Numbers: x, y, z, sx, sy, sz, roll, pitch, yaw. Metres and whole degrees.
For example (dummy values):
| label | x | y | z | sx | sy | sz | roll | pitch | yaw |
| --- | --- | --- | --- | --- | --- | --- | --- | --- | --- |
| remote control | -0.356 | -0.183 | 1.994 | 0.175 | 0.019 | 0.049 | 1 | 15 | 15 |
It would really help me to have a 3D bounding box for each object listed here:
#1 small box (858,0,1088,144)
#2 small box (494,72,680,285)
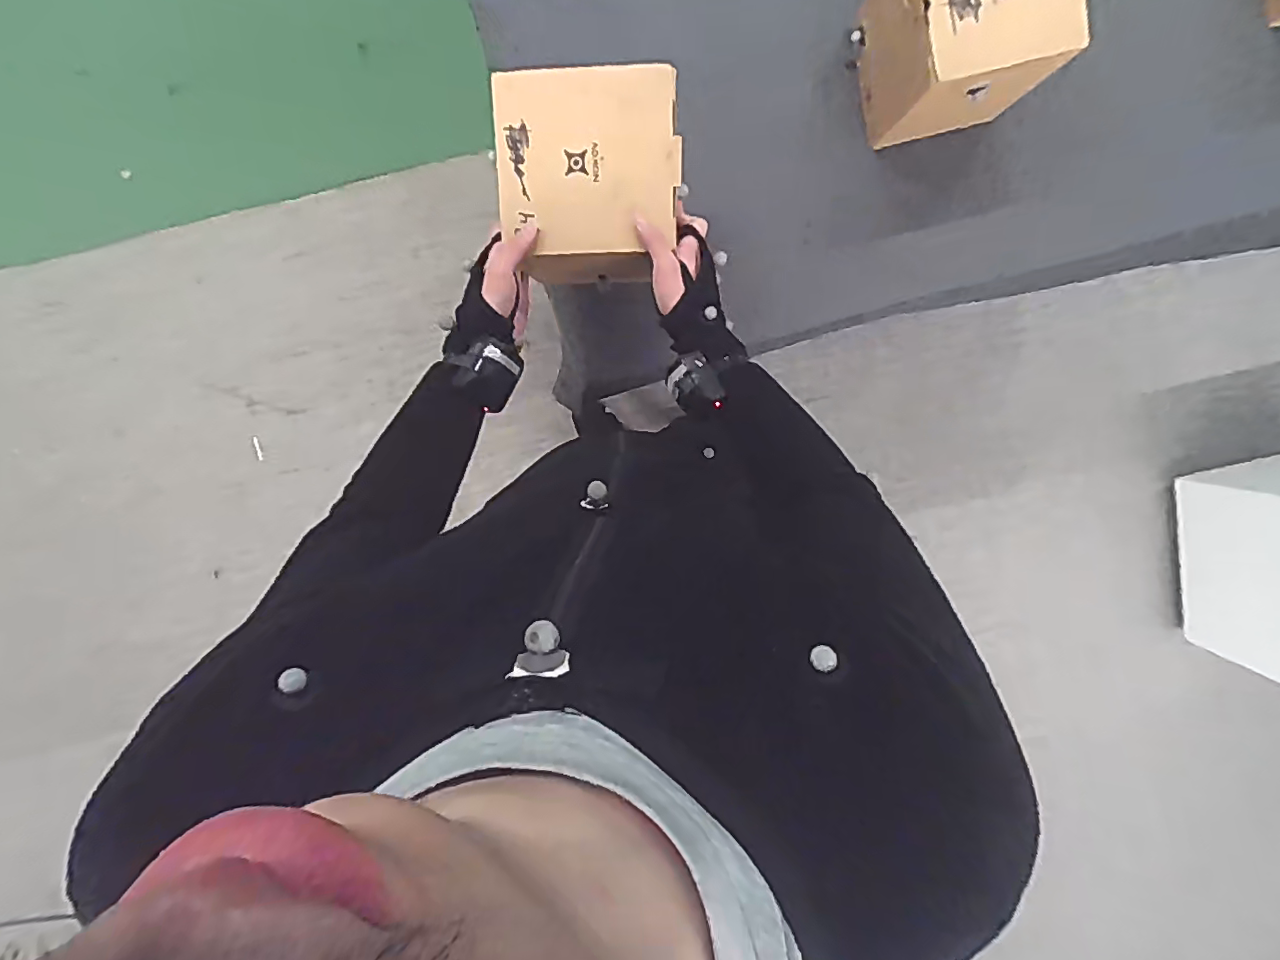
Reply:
| label | x | y | z | sx | sy | sz | roll | pitch | yaw |
| --- | --- | --- | --- | --- | --- | --- | --- | --- | --- |
| small box | 0.383 | -0.541 | 0.654 | 0.179 | 0.176 | 0.168 | -13 | 100 | 0 |
| small box | -0.049 | -0.314 | 0.595 | 0.179 | 0.176 | 0.168 | 0 | 102 | 2 |
